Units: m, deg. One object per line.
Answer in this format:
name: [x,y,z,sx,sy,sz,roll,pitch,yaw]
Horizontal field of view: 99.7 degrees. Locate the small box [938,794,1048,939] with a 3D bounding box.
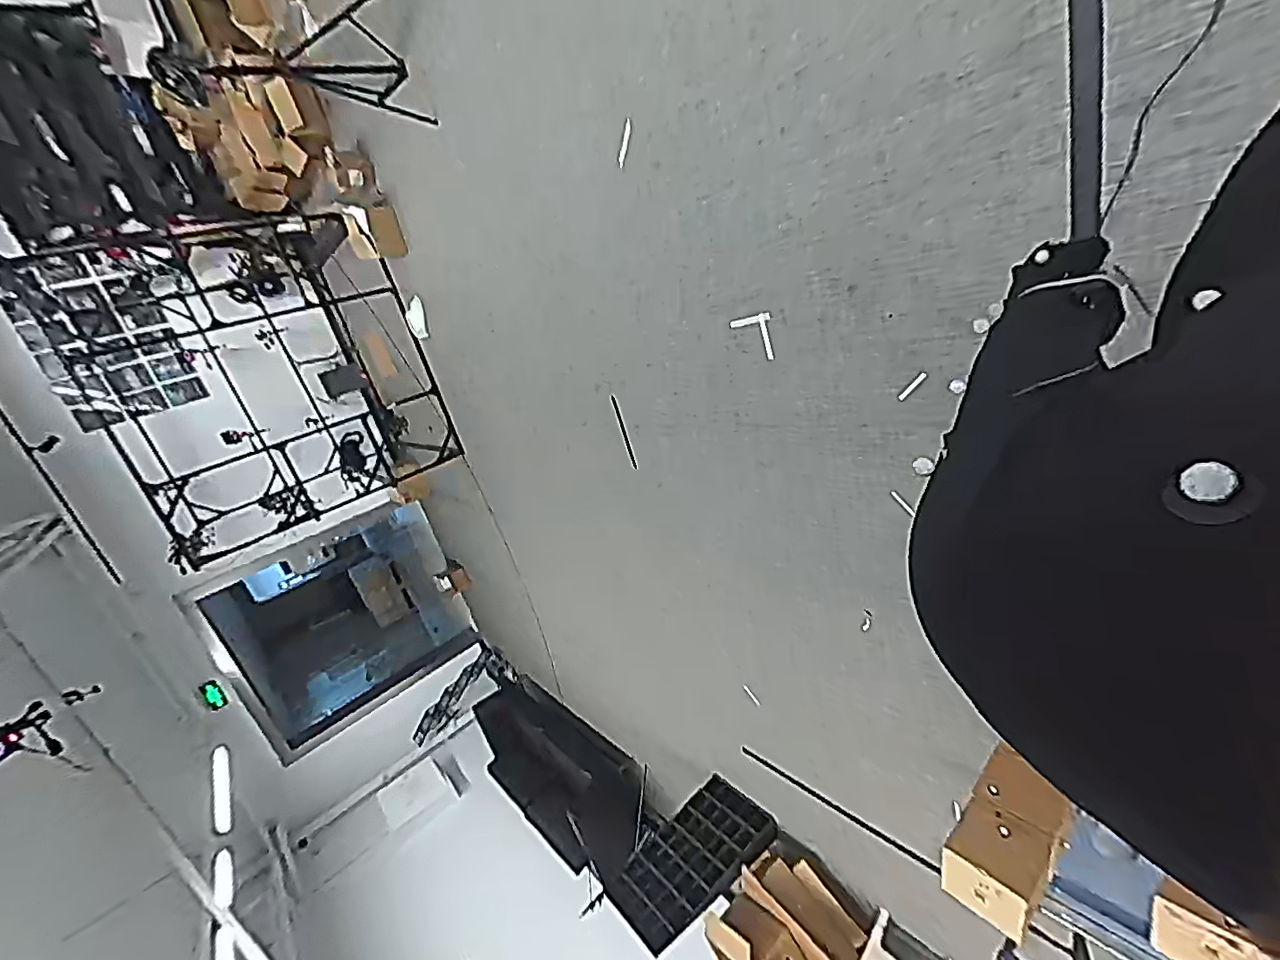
small box: [0.814,0.884,1.250,0.168,0.176,0.179,18,129,48]

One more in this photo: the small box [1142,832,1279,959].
small box: [1.145,0.868,1.085,0.168,0.176,0.179,11,125,50]

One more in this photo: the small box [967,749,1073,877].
small box: [0.935,0.810,1.336,0.179,0.176,0.168,17,128,49]
